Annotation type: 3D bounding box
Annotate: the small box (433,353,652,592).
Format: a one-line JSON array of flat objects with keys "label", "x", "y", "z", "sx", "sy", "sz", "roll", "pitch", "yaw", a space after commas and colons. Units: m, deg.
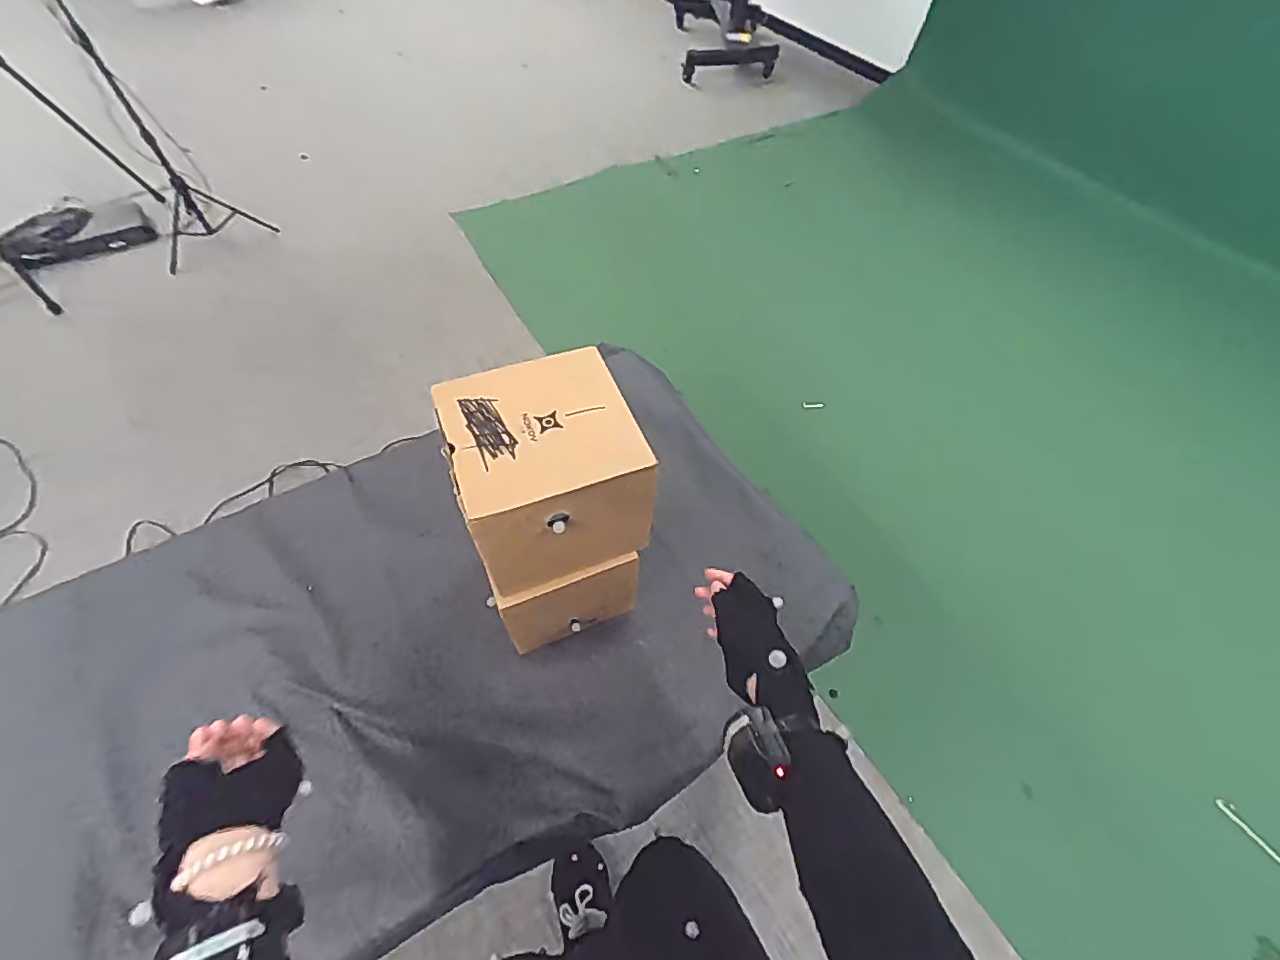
[{"label": "small box", "x": -0.099, "y": -0.003, "z": 0.582, "sx": 0.179, "sy": 0.176, "sz": 0.168, "roll": -18, "pitch": 59, "yaw": -15}]
